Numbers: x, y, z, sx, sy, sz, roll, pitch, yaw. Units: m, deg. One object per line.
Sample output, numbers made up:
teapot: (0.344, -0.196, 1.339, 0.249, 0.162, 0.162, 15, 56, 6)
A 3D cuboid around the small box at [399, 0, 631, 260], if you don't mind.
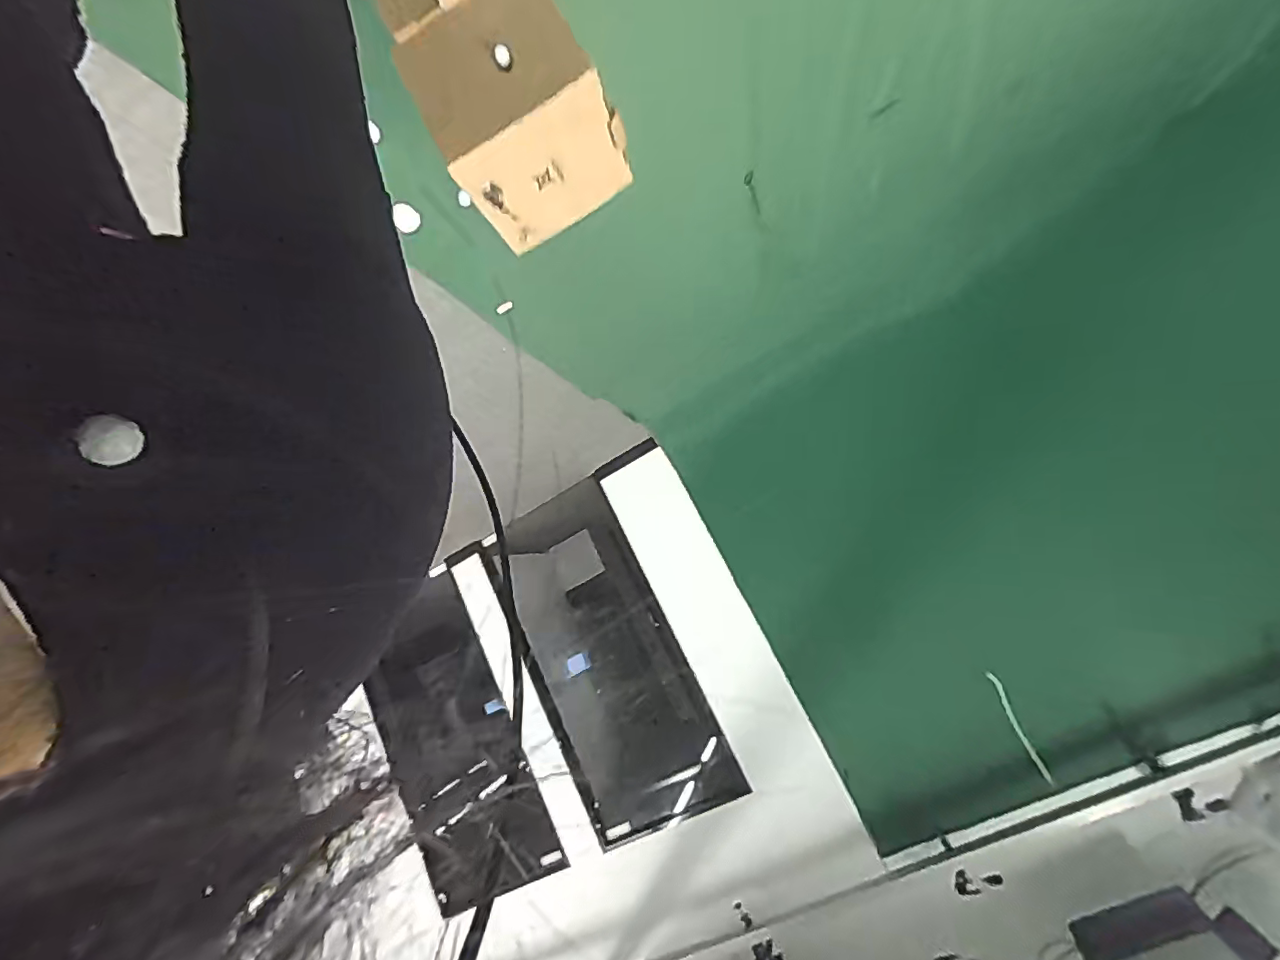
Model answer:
small box: (-0.137, -0.405, 0.625, 0.179, 0.176, 0.168, -30, 169, 7)
